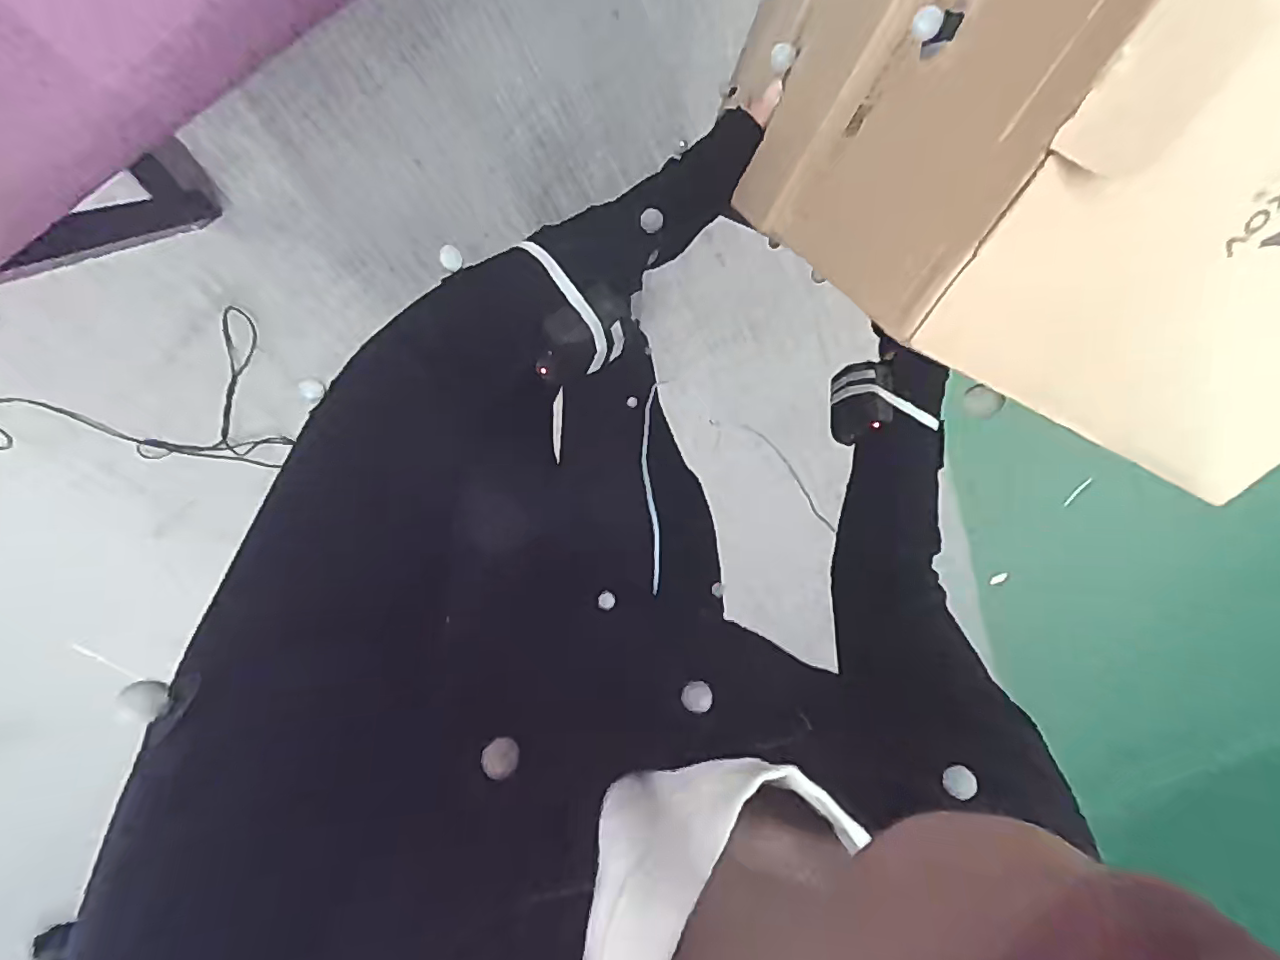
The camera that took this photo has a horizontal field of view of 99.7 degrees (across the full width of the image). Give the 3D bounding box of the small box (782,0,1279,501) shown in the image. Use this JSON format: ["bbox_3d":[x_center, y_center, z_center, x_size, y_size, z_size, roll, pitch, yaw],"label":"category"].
[{"bbox_3d":[0.191,-0.124,0.228,0.179,0.176,0.168,19,123,-17],"label":"small box"}]
